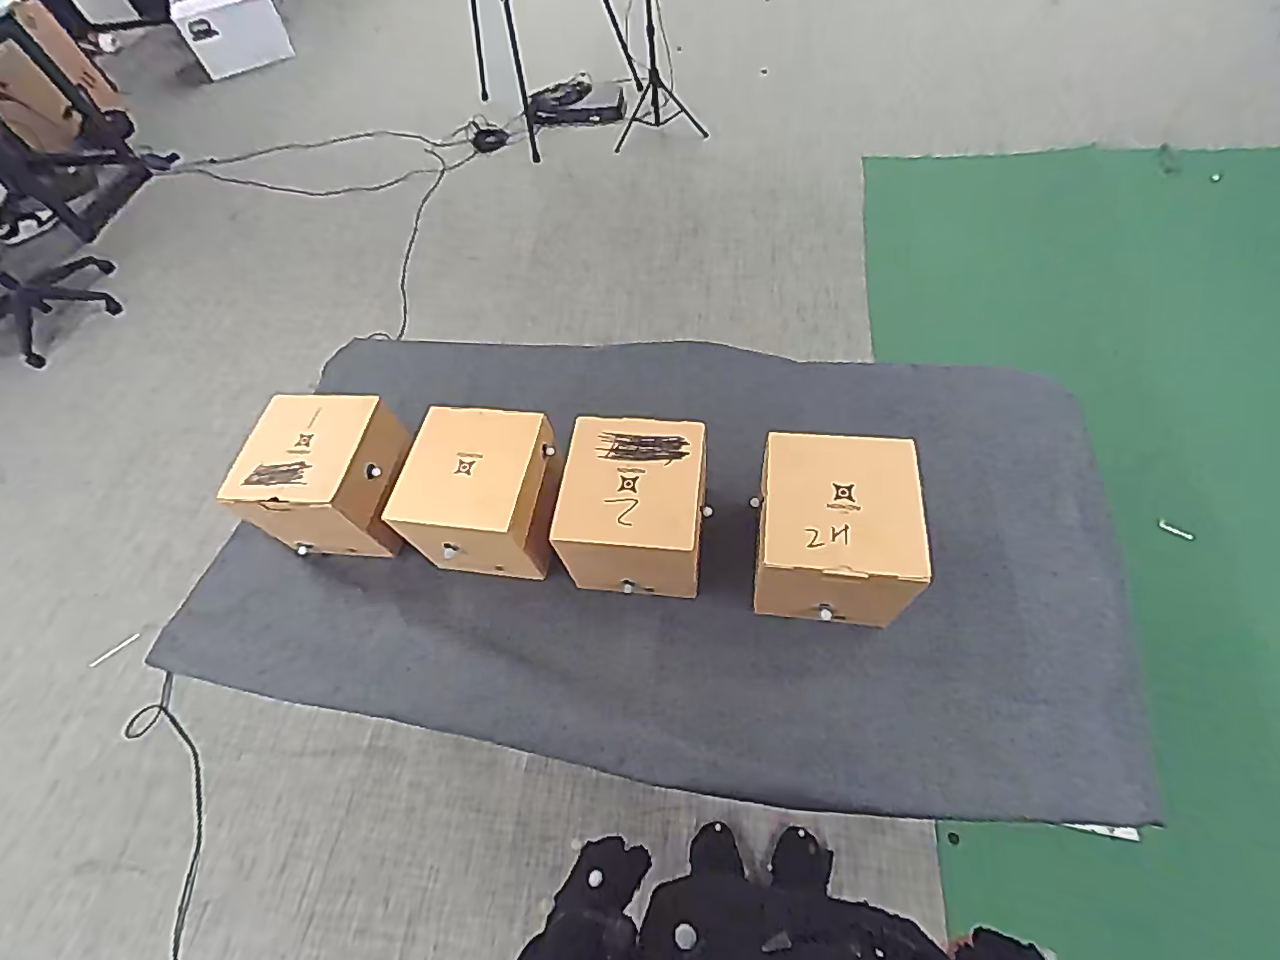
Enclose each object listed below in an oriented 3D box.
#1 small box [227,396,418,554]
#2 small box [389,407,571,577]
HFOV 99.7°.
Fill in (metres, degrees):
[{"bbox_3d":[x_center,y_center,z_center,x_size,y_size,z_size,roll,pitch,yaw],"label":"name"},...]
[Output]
[{"bbox_3d":[-0.435,-0.003,0.794,0.168,0.176,0.179,2,59,8],"label":"small box"},{"bbox_3d":[-0.205,0.022,0.751,0.168,0.176,0.179,5,59,10],"label":"small box"}]
